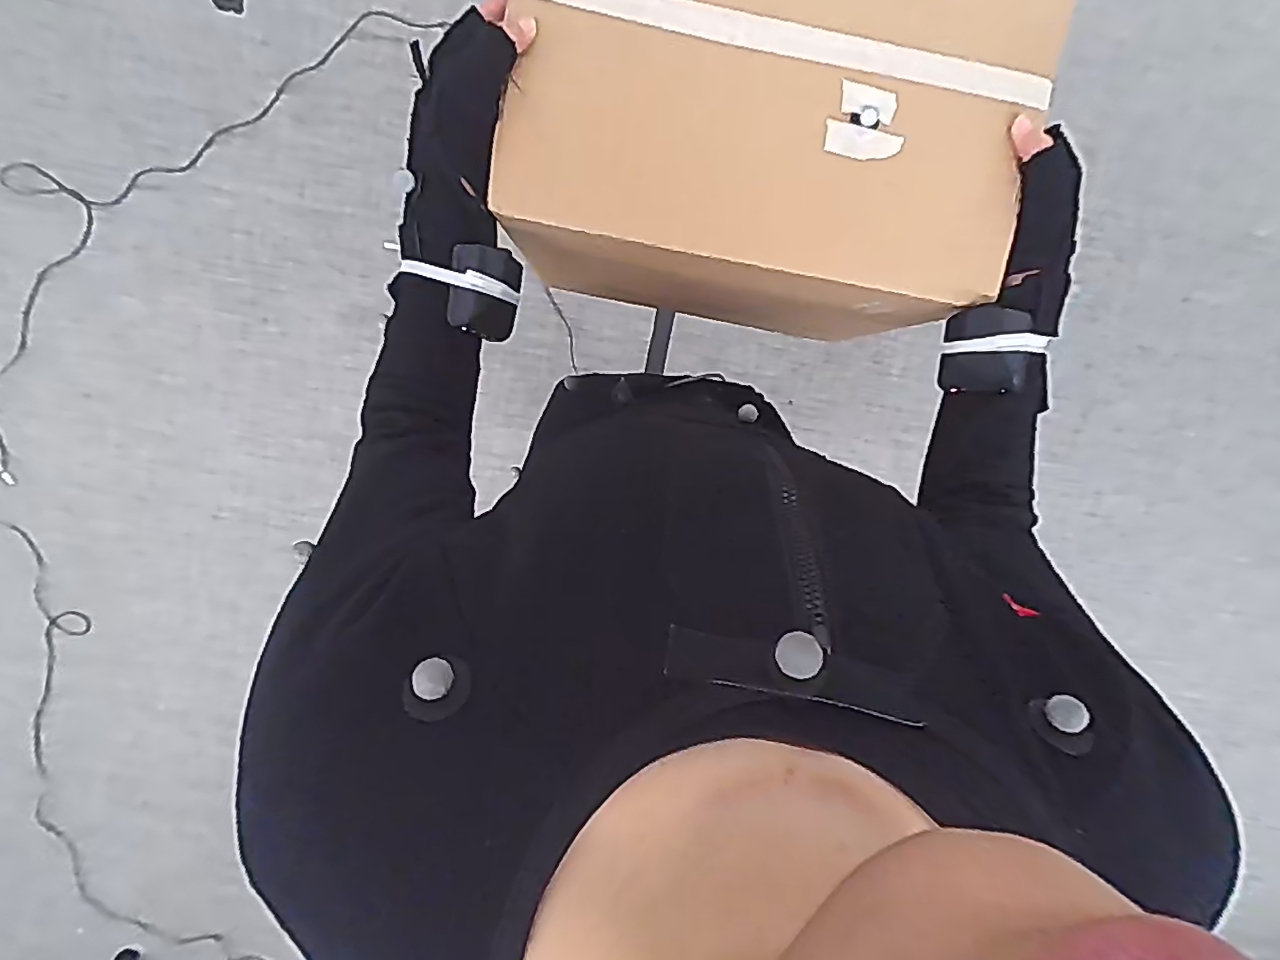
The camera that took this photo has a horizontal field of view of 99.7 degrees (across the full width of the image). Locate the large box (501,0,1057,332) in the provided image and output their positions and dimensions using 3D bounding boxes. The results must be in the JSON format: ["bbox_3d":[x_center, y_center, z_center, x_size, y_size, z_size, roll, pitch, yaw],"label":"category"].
[{"bbox_3d":[0.100,-0.352,0.553,0.408,0.320,0.320,9,100,-5],"label":"large box"}]
